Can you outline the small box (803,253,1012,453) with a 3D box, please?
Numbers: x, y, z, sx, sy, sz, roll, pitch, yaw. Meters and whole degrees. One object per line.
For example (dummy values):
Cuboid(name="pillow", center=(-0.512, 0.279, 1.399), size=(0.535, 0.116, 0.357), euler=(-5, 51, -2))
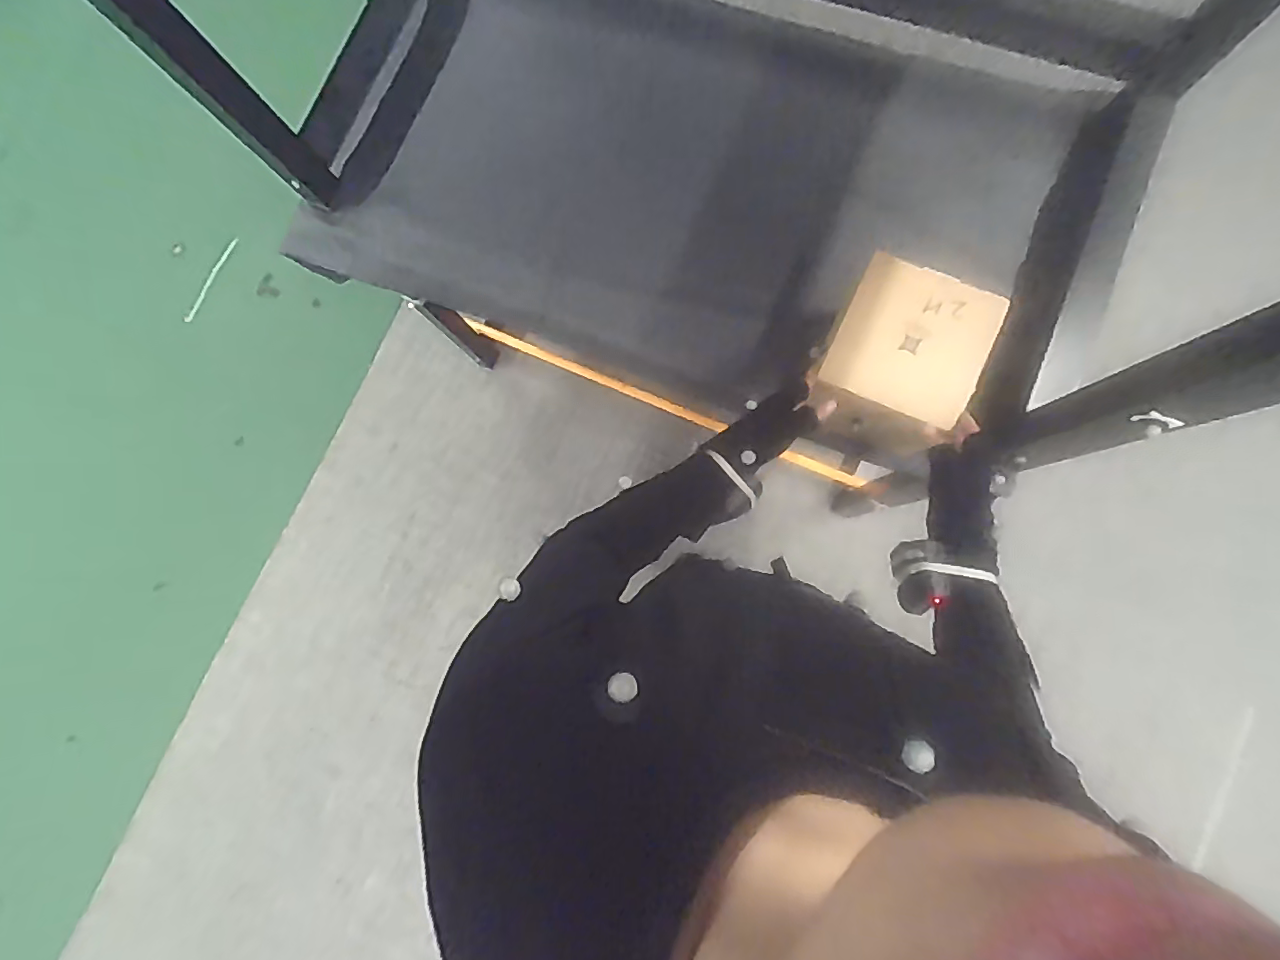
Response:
Cuboid(name="small box", center=(0.328, -0.151, 0.705), size=(0.168, 0.176, 0.179), euler=(25, 86, 9))
